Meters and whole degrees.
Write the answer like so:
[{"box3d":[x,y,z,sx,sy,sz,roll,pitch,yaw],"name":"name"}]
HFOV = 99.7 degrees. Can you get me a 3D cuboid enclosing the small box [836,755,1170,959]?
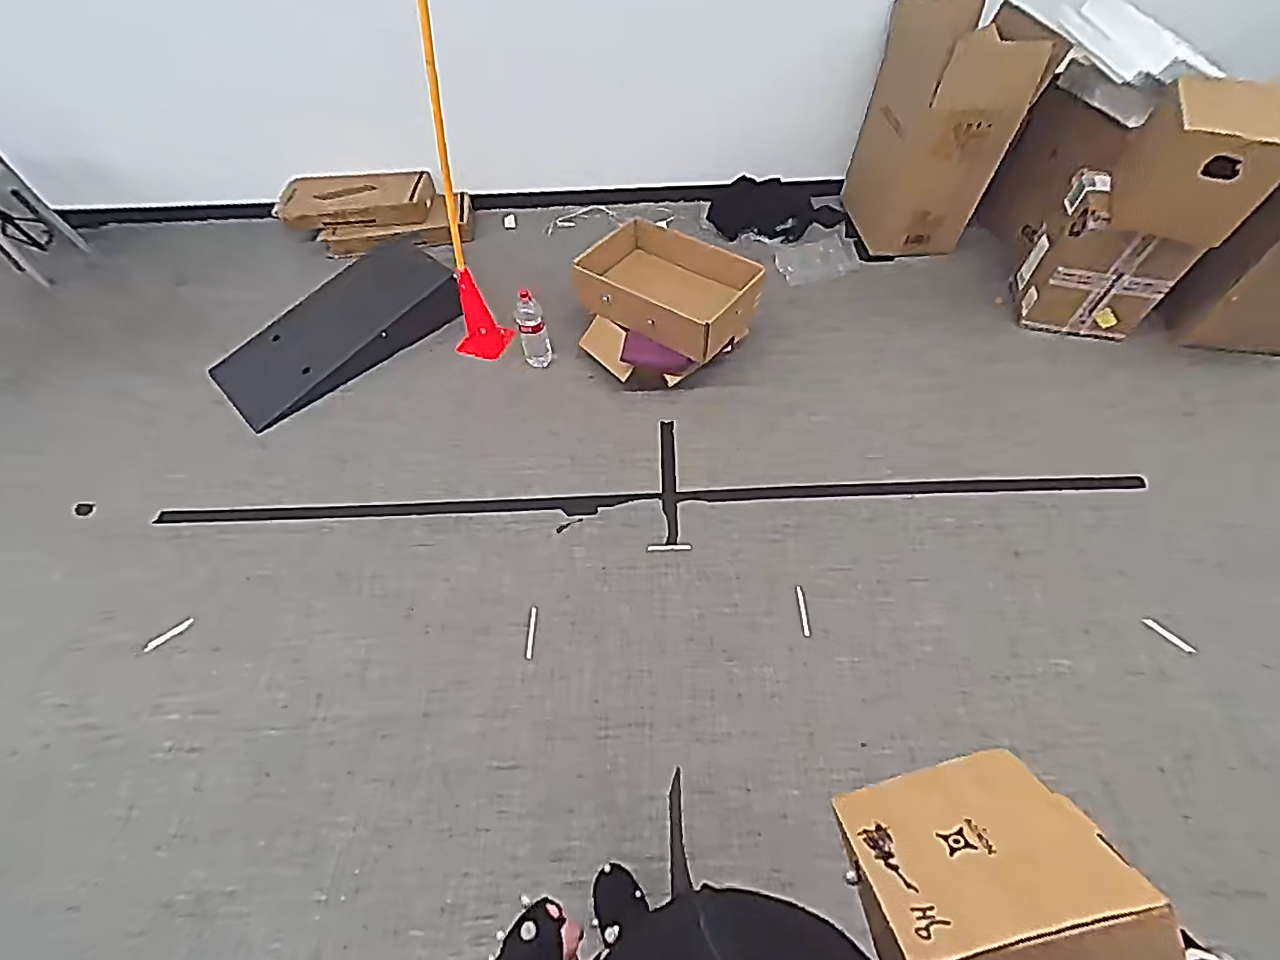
[{"box3d":[0.294,0.377,0.457,0.179,0.168,0.176,-17,96,3],"name":"small box"}]
